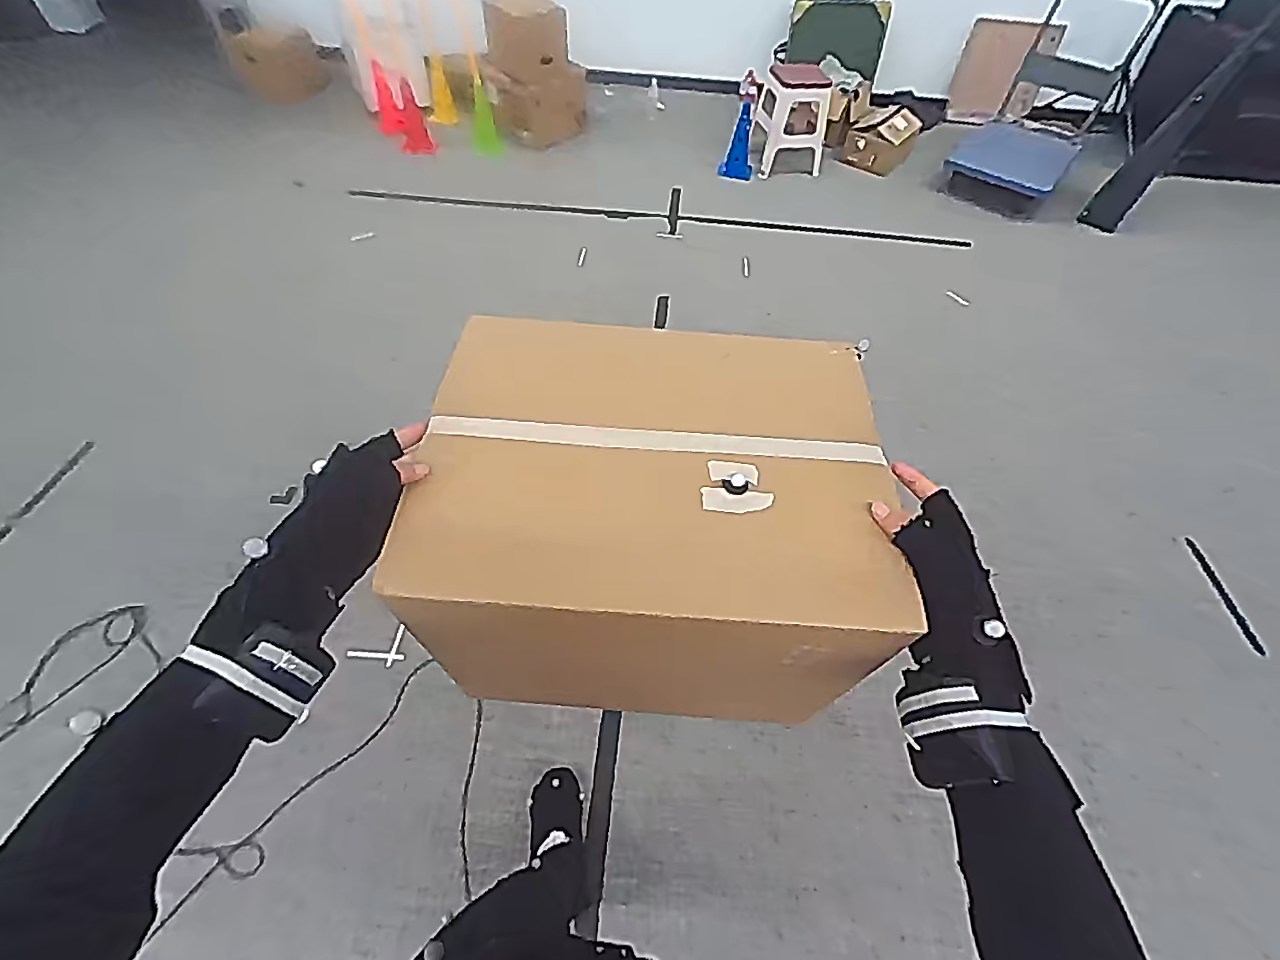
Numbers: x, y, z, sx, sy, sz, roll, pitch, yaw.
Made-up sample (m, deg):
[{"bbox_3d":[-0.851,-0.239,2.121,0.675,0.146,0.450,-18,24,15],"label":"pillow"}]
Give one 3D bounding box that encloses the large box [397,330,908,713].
[{"bbox_3d":[0.009,0.060,0.618,0.408,0.320,0.320,5,55,0],"label":"large box"}]
